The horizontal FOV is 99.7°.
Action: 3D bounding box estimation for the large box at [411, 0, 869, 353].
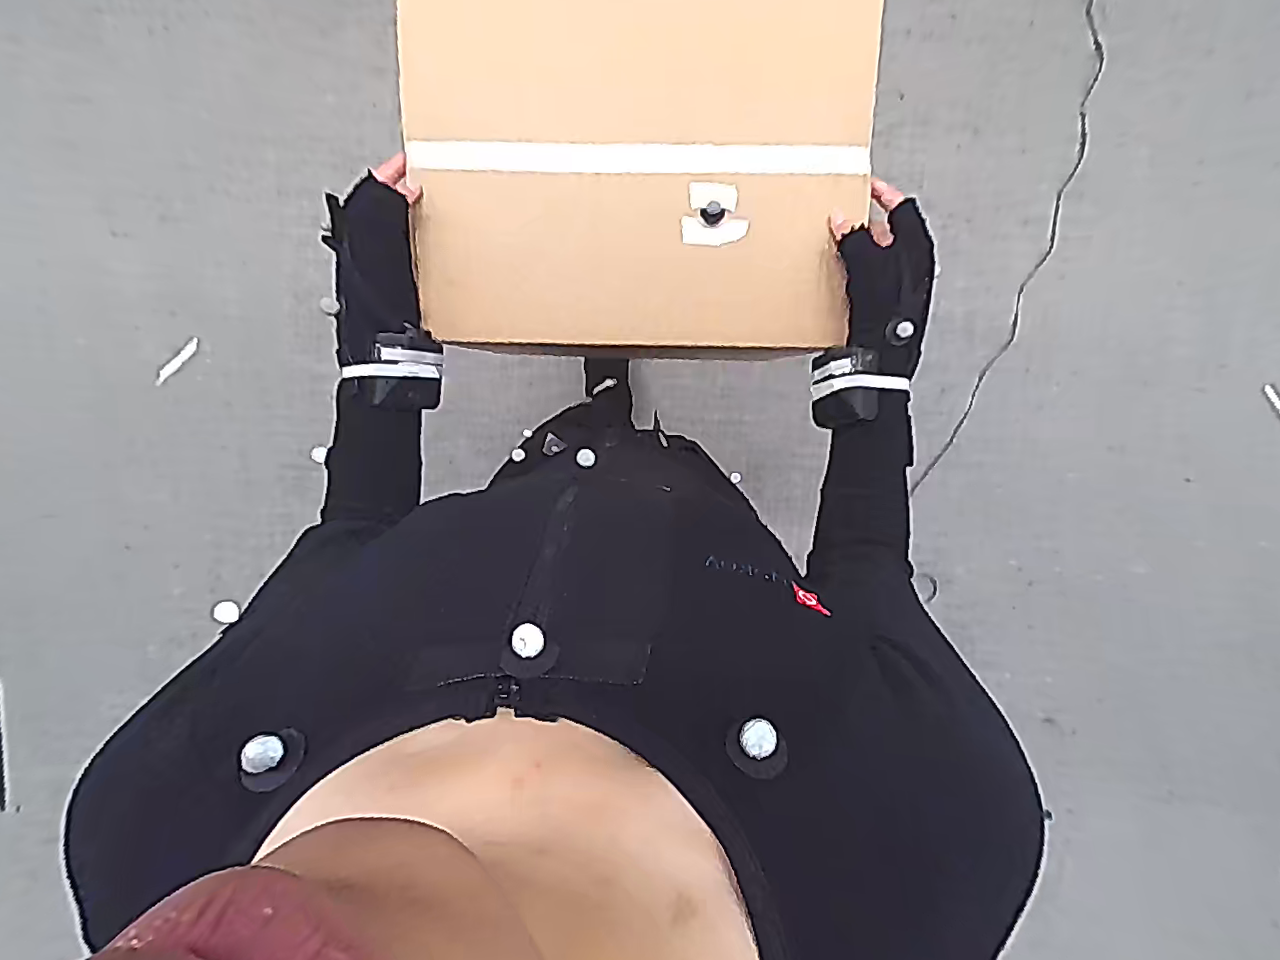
[{"bbox_3d":[-0.003,-0.318,0.632,0.408,0.320,0.320,1,100,0],"label":"large box"}]
